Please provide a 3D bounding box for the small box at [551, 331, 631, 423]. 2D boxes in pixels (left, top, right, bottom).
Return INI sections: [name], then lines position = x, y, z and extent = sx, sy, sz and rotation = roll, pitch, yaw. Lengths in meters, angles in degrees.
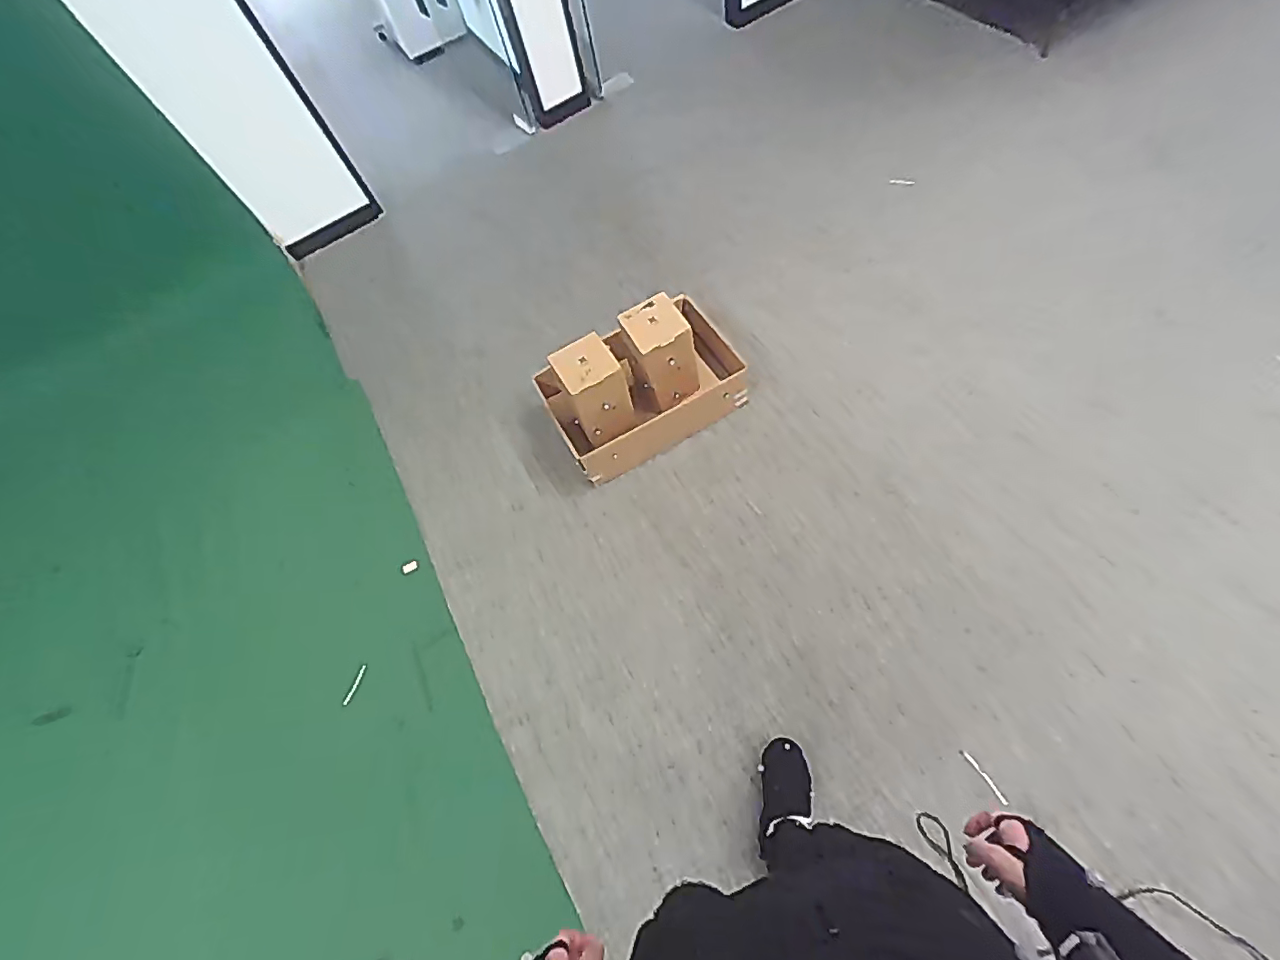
[small box]
position = -0.144, -0.306, 1.626
extent = 0.168, 0.176, 0.179
rotation = -29, 62, -5
